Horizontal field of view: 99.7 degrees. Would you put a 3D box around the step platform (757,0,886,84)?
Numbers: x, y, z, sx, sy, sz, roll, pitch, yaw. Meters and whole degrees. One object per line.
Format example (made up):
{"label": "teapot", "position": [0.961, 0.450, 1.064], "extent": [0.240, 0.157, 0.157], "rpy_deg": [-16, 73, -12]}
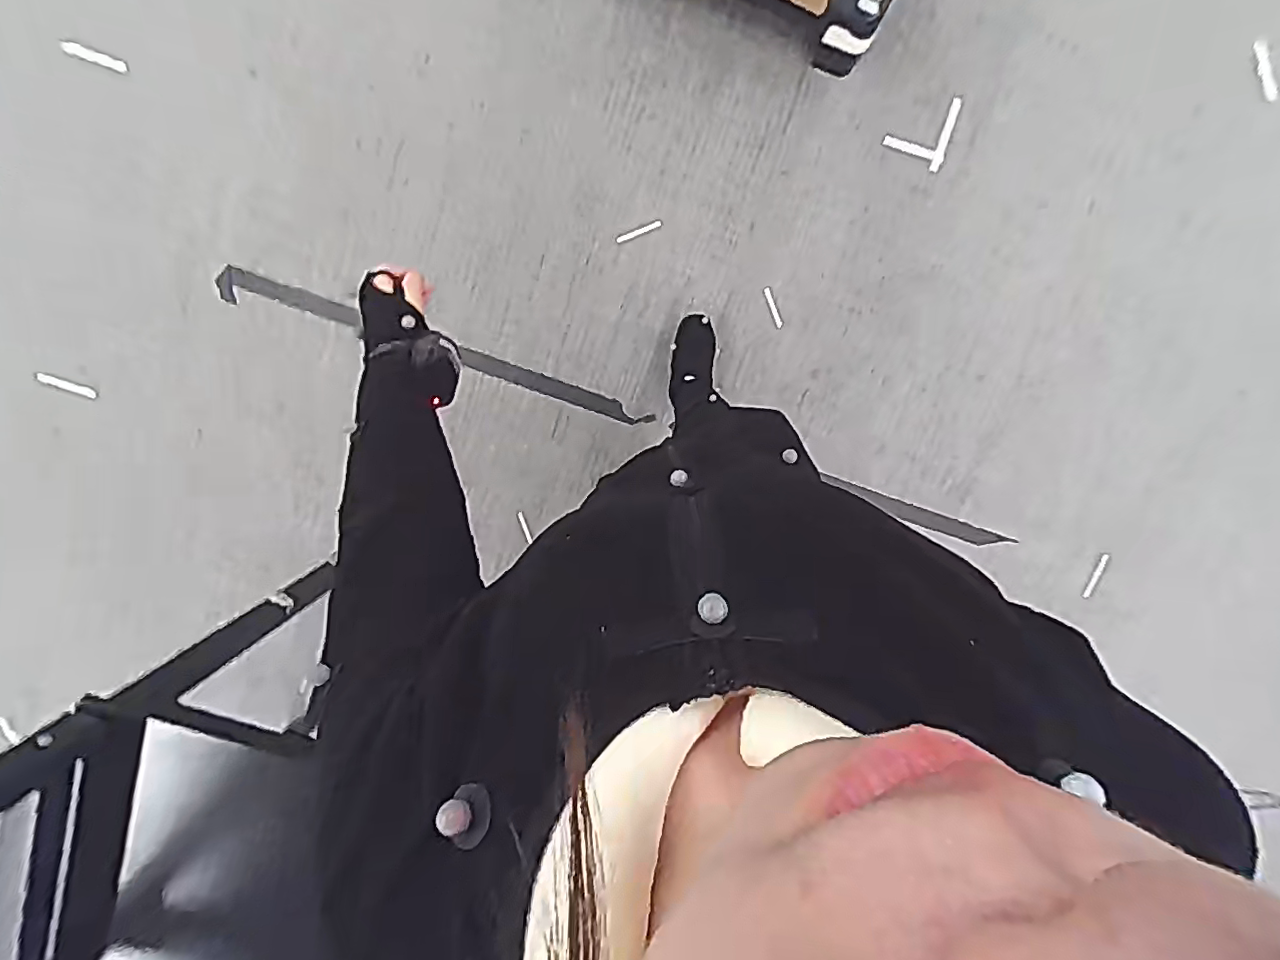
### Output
{"label": "step platform", "position": [0.230, -1.192, 1.175], "extent": [0.684, 0.204, 0.286], "rpy_deg": [24, 99, -4]}
